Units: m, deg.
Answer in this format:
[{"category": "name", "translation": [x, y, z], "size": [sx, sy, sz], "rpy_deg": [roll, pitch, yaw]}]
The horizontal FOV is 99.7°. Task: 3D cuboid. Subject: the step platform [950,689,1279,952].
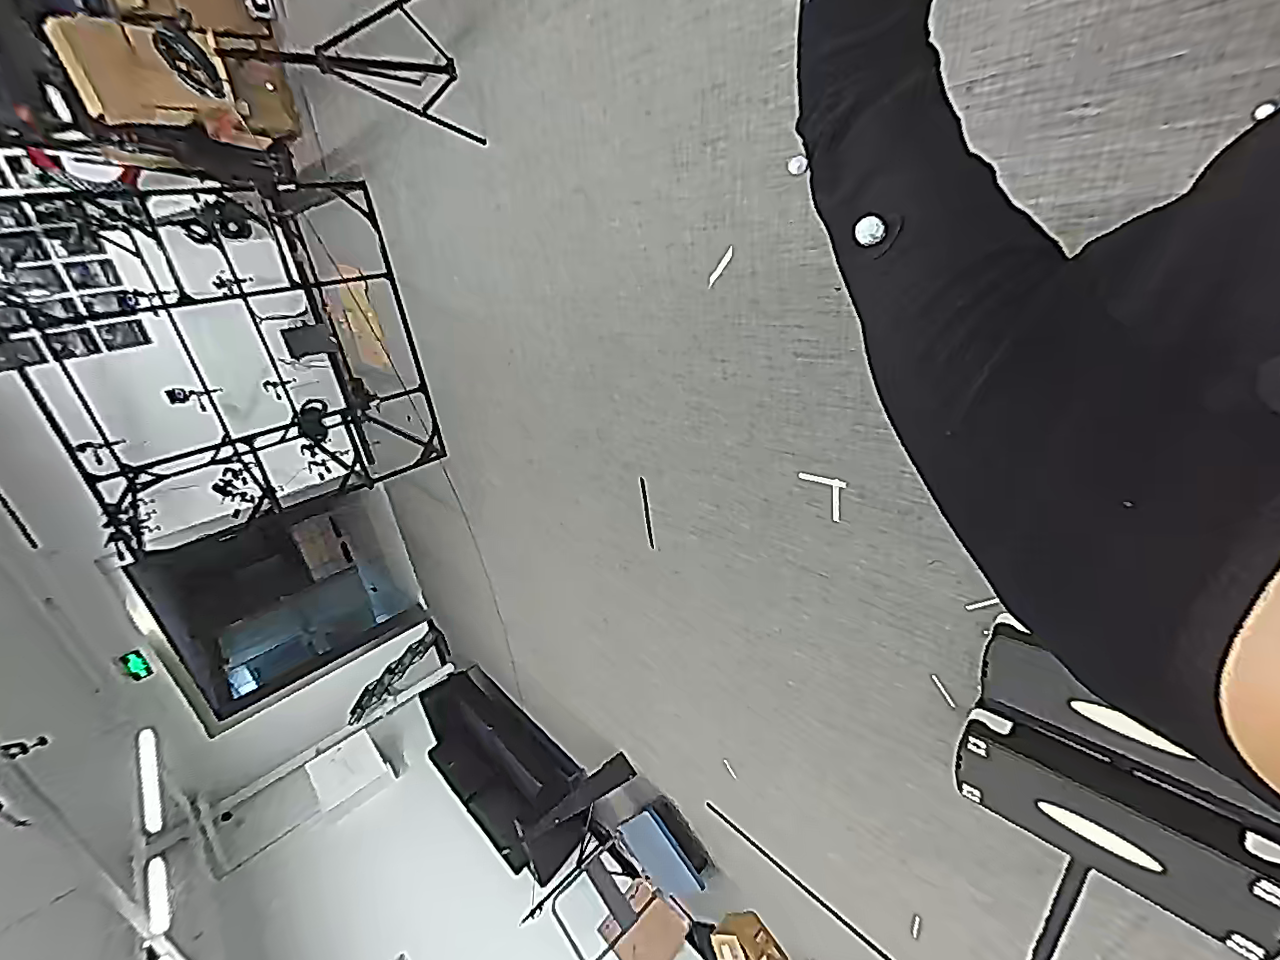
[{"category": "step platform", "translation": [1.221, 0.862, 1.444], "size": [0.684, 0.204, 0.286], "rpy_deg": [17, 125, 47]}]
